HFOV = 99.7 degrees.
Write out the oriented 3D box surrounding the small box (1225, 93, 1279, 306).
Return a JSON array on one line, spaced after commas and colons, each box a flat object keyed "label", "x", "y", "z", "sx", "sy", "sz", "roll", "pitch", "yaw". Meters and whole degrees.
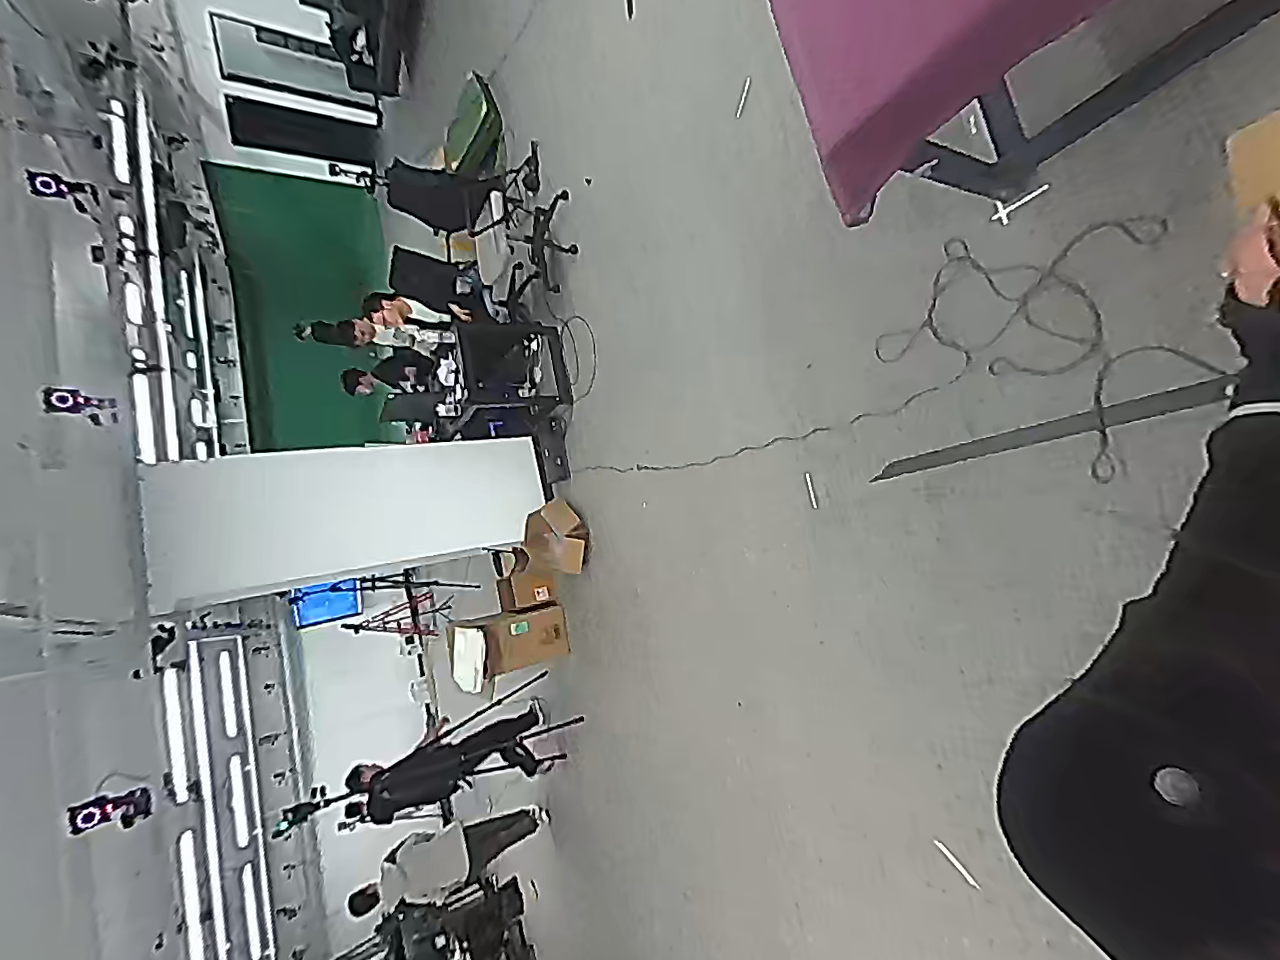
[{"label": "small box", "x": 0.641, "y": -0.267, "z": 0.461, "sx": 0.168, "sy": 0.176, "sz": 0.179, "roll": -11, "pitch": 102, "yaw": 41}]
